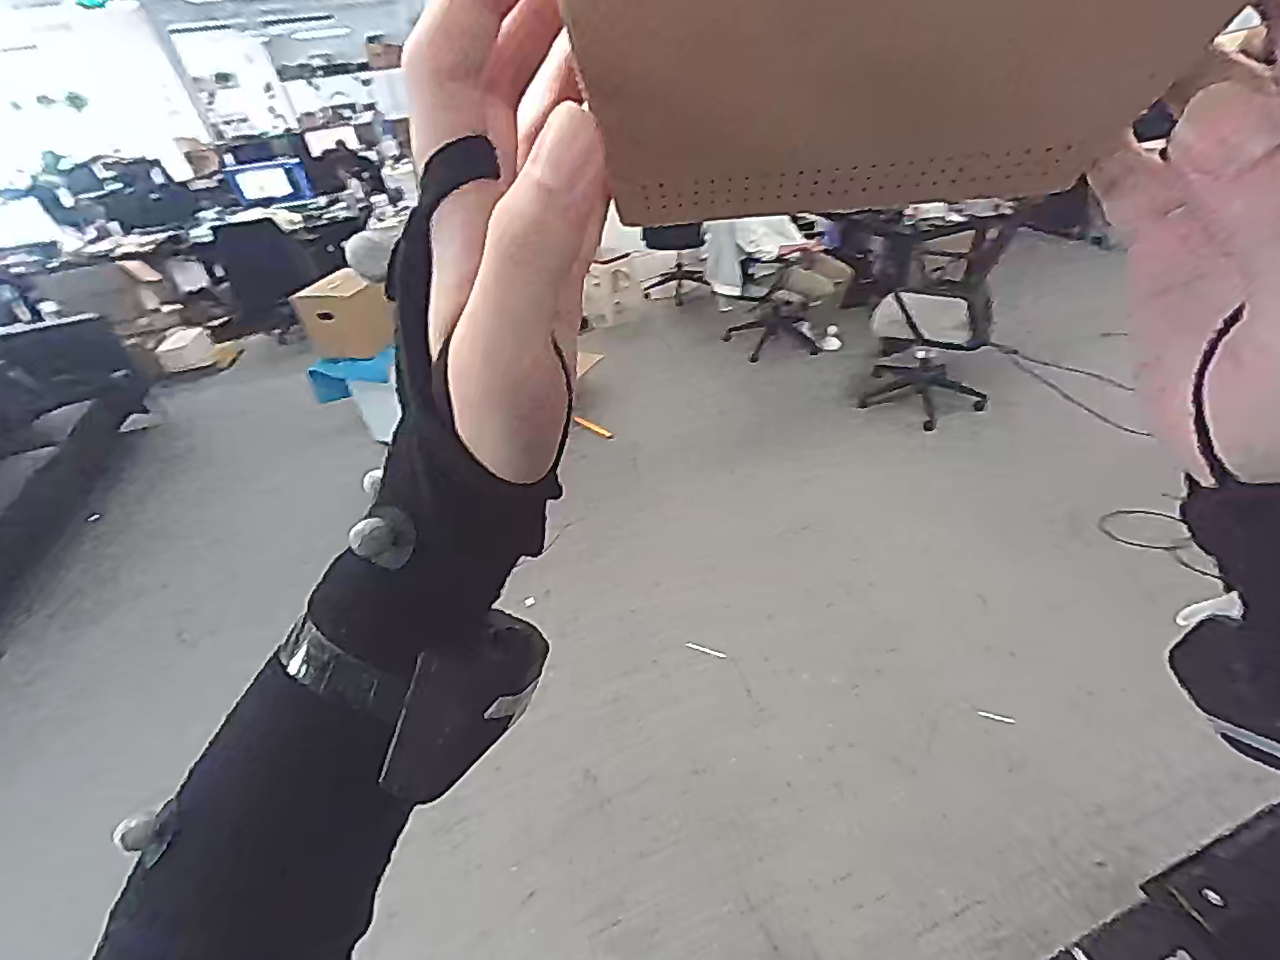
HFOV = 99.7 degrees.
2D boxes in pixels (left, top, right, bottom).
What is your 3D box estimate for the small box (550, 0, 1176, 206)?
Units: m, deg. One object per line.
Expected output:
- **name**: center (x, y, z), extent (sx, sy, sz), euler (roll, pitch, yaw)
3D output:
- **small box**: center (0.059, -0.201, 0.148), extent (0.179, 0.176, 0.168), euler (-1, 83, 6)
